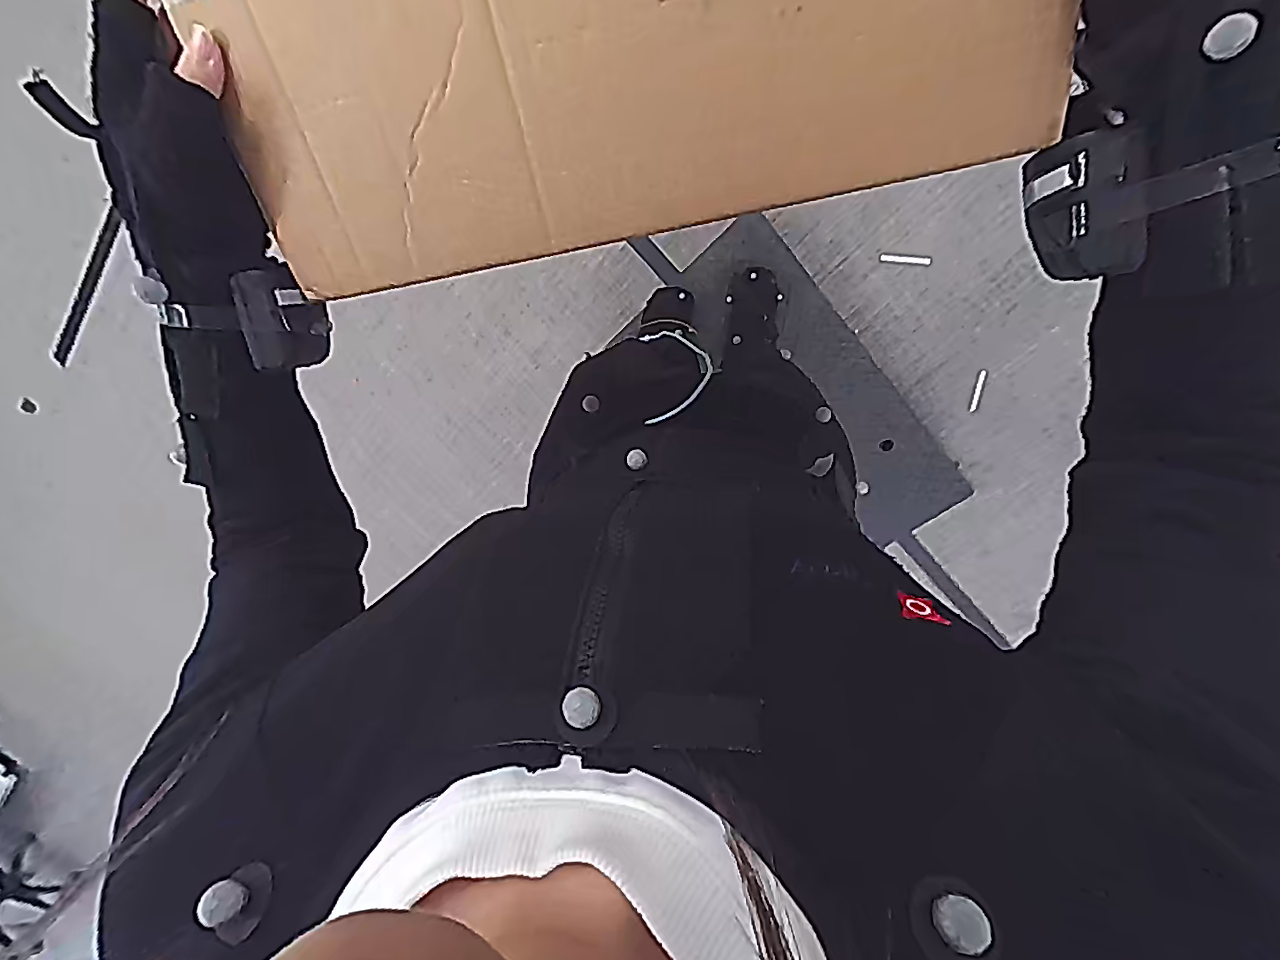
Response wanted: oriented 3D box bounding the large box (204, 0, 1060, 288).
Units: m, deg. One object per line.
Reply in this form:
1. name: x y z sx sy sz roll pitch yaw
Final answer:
1. large box: -0.012 -0.346 0.358 0.408 0.320 0.320 -6 118 14

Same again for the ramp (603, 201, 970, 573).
1. ramp: 0.420 -0.166 1.447 0.509 0.206 0.991 -41 100 21
